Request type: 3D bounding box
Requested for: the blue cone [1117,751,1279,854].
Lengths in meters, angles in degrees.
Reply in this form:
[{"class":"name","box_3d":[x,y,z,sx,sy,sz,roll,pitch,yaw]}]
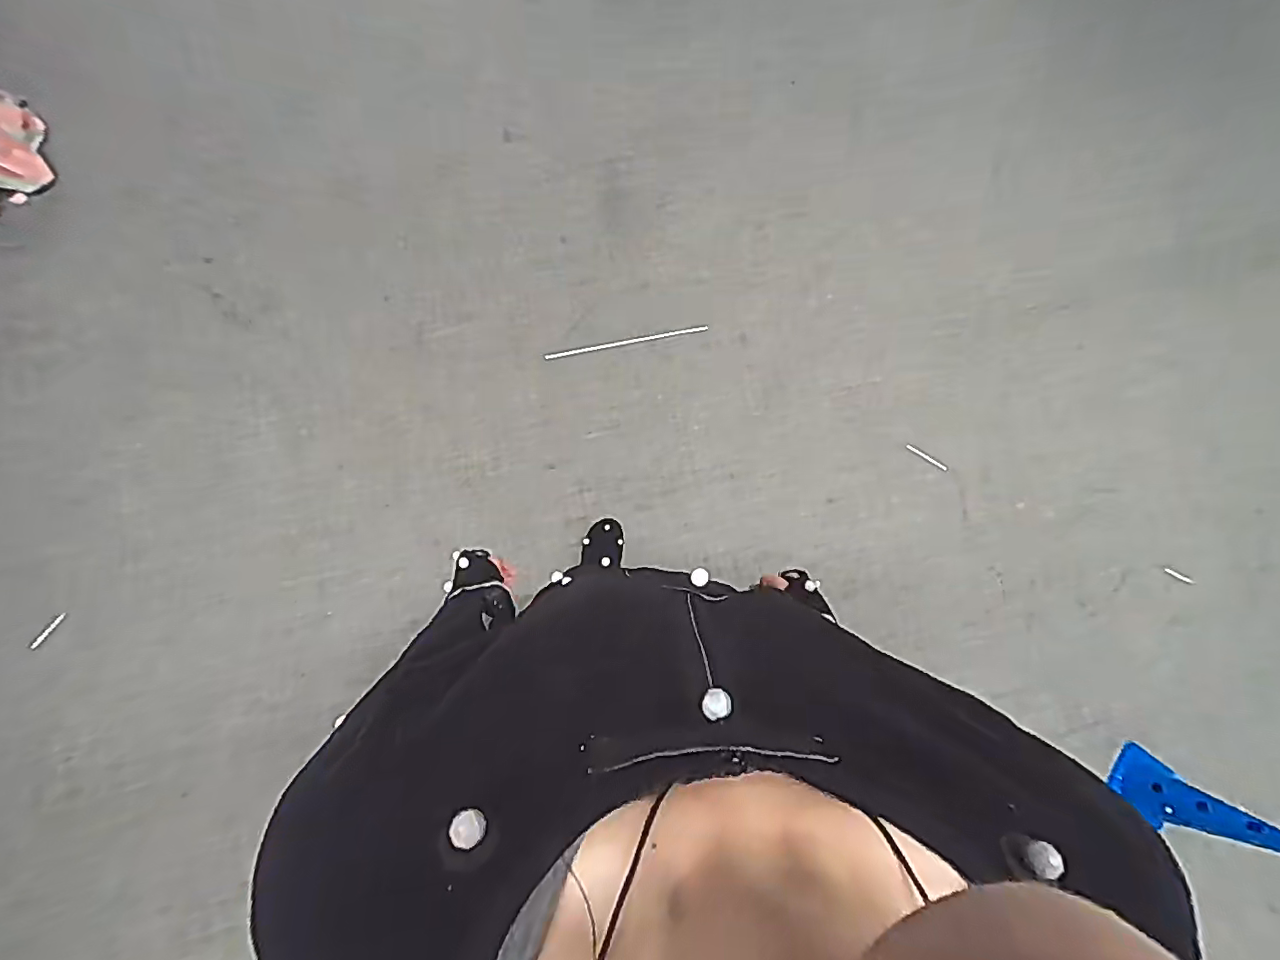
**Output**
[{"class":"blue cone","box_3d":[1.482,0.867,1.384,0.192,0.380,0.193,35,77,1]}]
